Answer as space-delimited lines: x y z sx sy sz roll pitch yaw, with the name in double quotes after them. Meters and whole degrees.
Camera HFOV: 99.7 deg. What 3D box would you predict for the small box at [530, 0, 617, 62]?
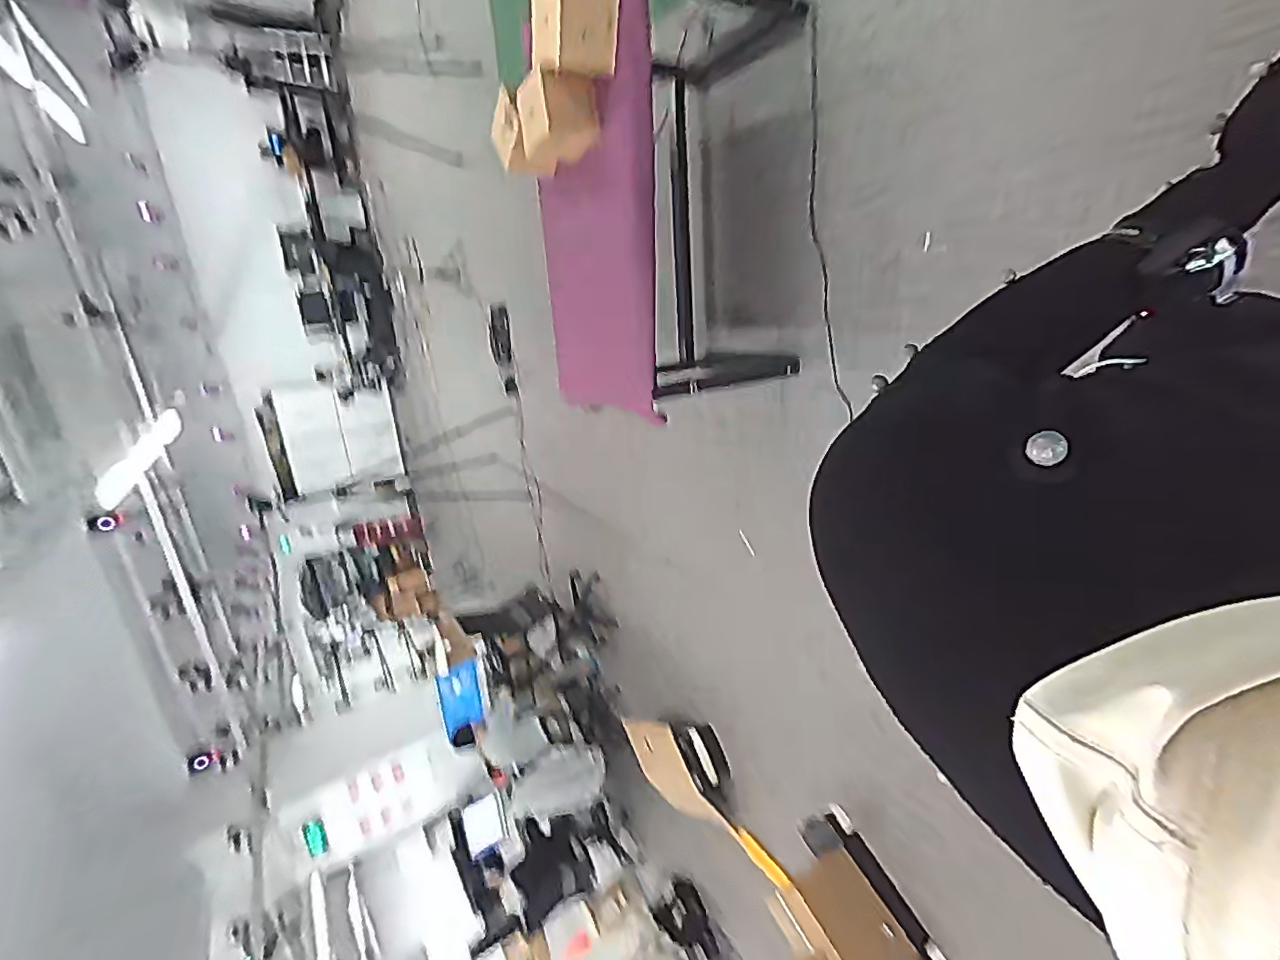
-0.171 -1.186 1.385 0.179 0.176 0.168 47 142 41 "small box"
